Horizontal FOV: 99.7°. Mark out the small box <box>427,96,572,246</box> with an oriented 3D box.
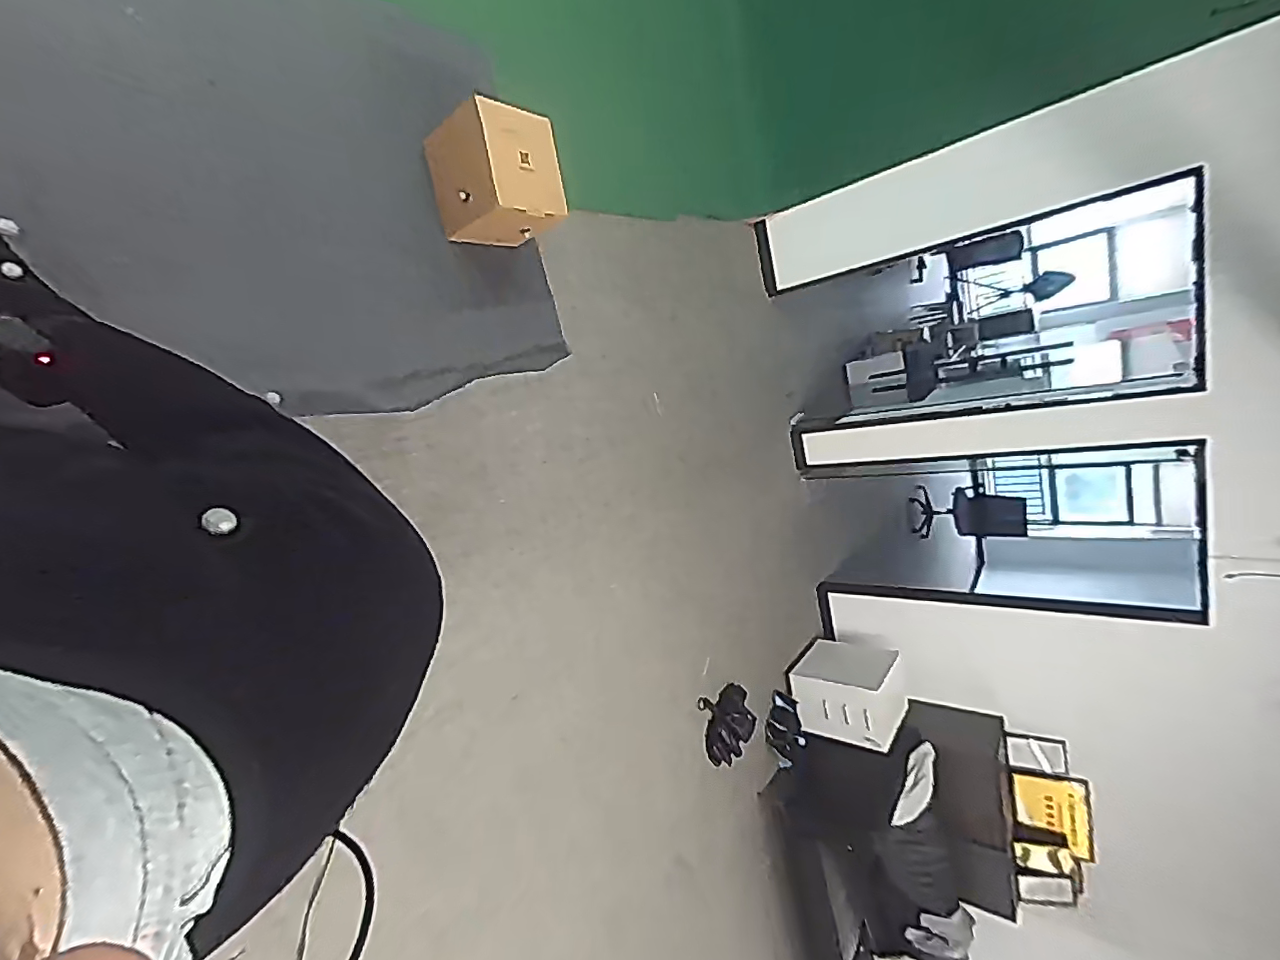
[{"bbox_3d":[-0.254,-0.542,0.980,0.168,0.176,0.179,-23,103,-49],"label":"small box"}]
